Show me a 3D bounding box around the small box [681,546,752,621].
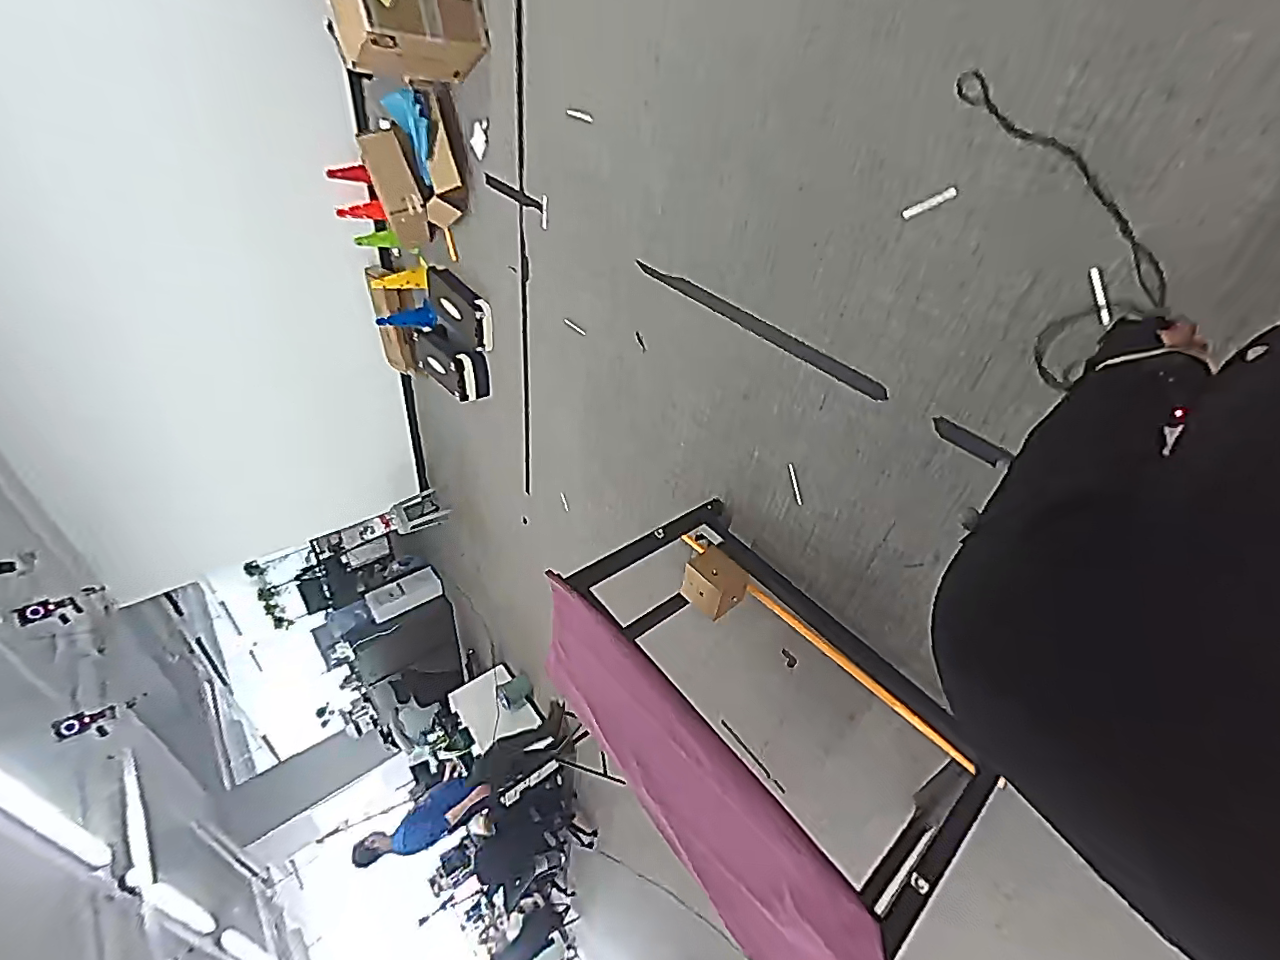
[{"bbox_3d":[0.279,0.368,1.955,0.179,0.176,0.168,39,137,33],"label":"small box"}]
